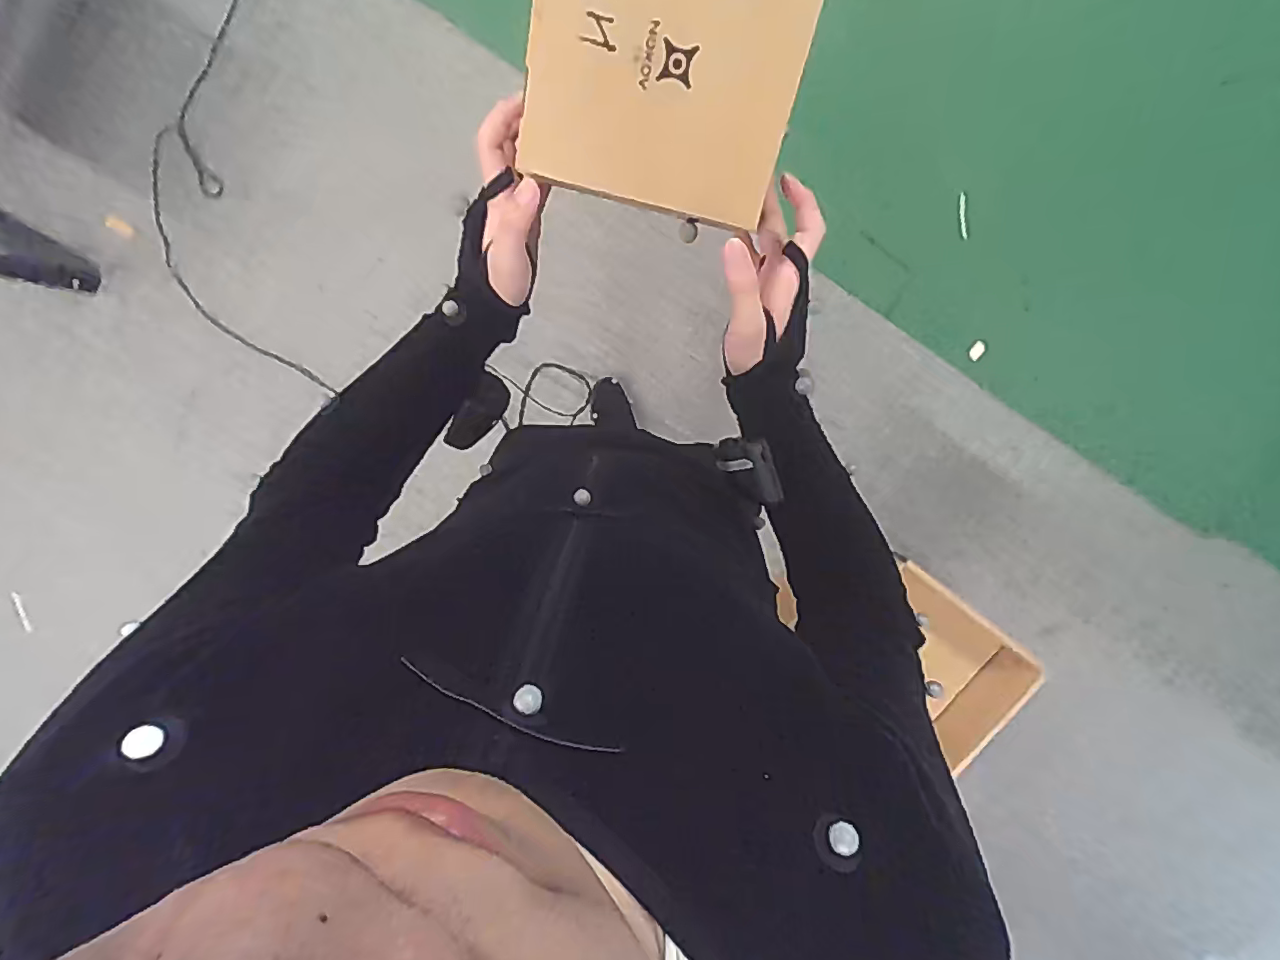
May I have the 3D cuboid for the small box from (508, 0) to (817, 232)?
[{"bbox_3d":[0.015,-0.301,0.415,0.179,0.176,0.168,13,115,-2],"label":"small box"}]
